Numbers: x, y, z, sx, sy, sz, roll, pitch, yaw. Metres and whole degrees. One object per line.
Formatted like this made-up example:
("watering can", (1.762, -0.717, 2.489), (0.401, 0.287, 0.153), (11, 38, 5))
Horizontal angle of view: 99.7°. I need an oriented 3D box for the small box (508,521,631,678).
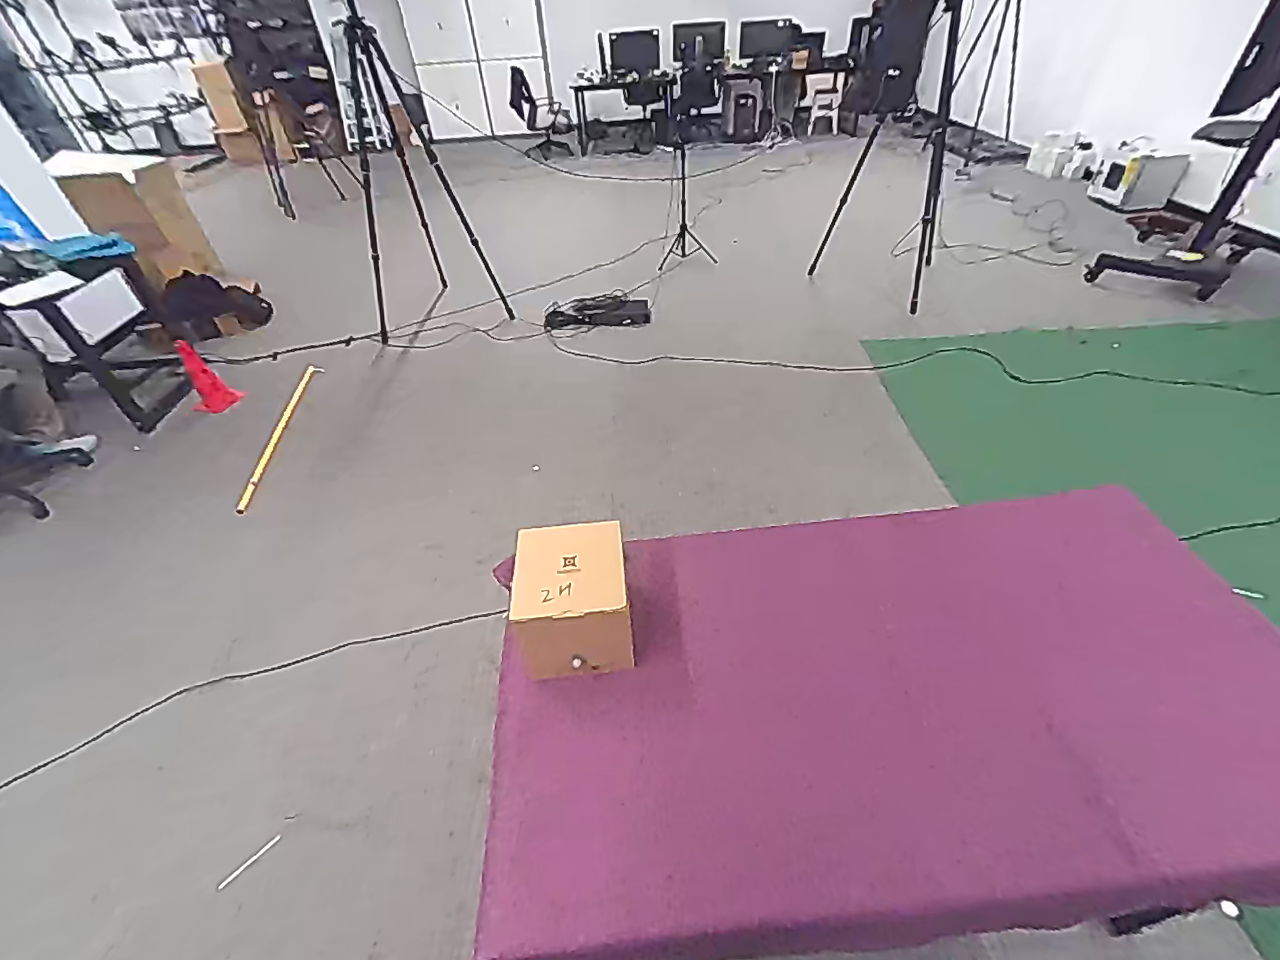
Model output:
("small box", (-0.104, 0.190, 0.866), (0.168, 0.176, 0.179), (-6, 42, -1))
